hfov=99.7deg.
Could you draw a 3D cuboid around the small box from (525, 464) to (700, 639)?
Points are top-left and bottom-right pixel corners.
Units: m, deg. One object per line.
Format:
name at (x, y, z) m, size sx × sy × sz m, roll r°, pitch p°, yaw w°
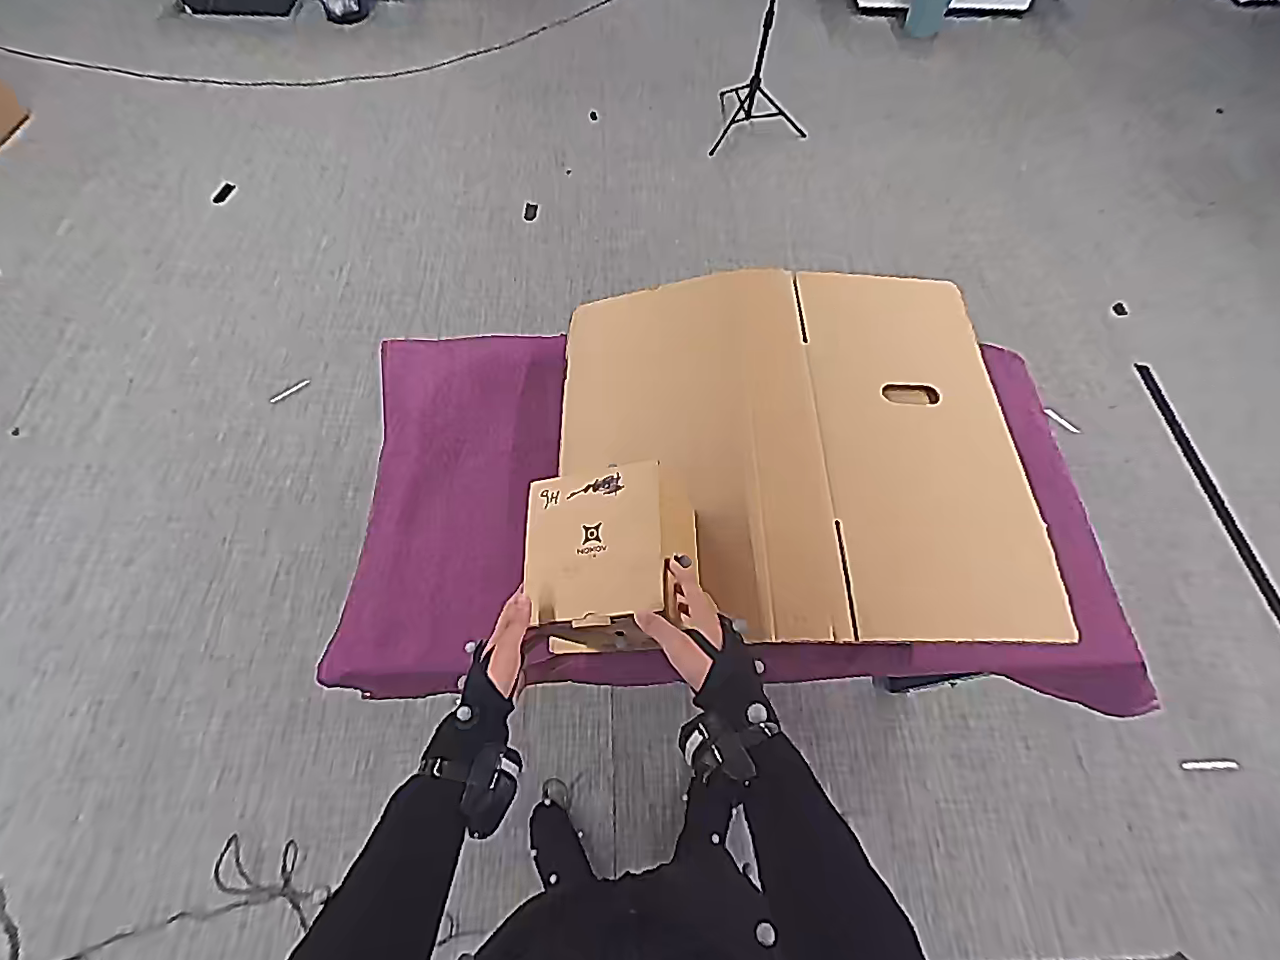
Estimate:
small box at (-0.025, 0.101, 0.674) m, size 0.168 × 0.176 × 0.179 m, roll -9°, pitch 65°, yaw 17°
